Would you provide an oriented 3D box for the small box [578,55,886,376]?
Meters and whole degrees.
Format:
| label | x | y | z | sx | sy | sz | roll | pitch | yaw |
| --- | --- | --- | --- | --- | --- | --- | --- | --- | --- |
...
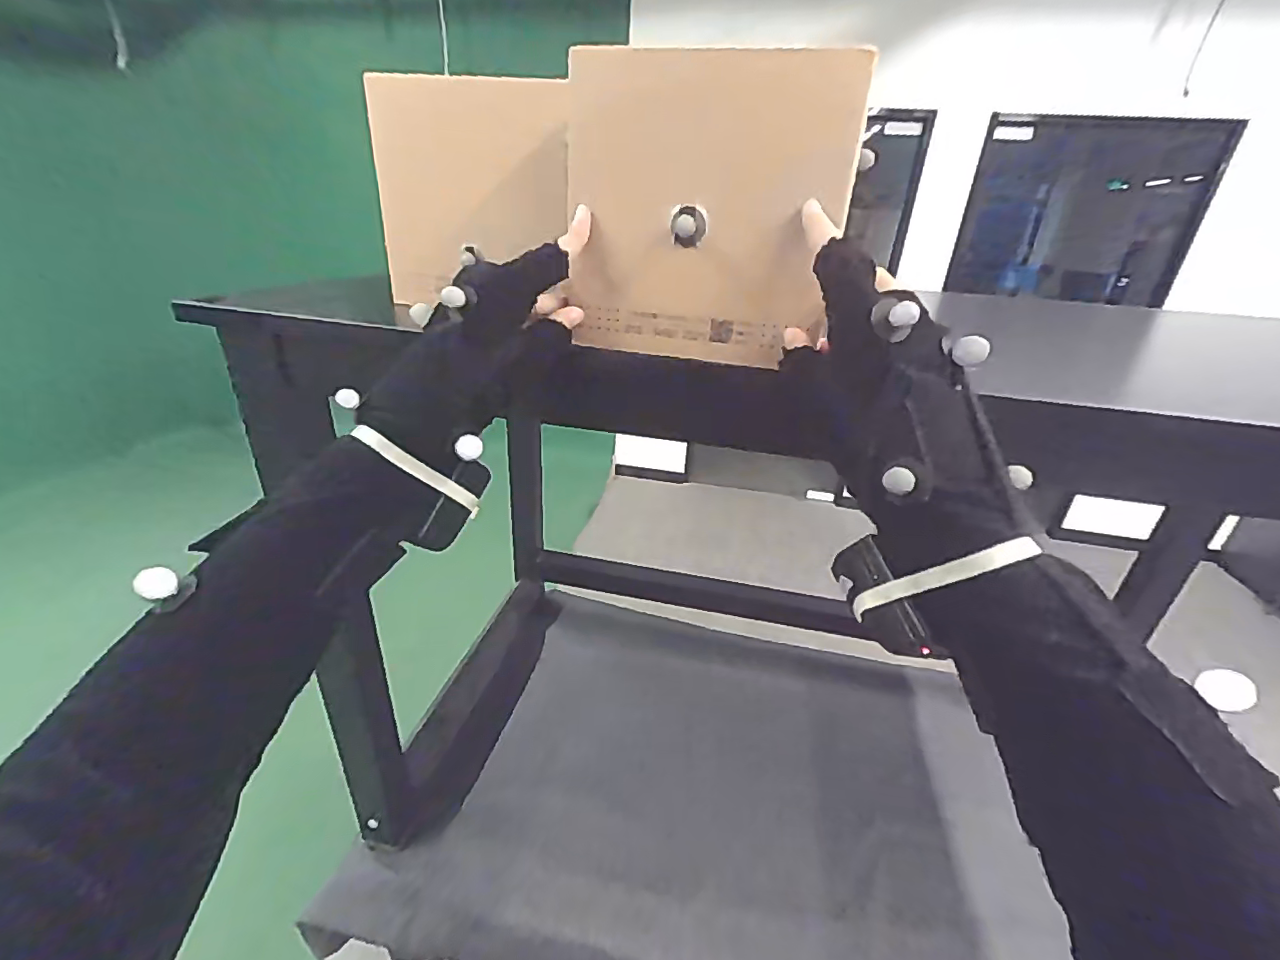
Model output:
| label | x | y | z | sx | sy | sz | roll | pitch | yaw |
| --- | --- | --- | --- | --- | --- | --- | --- | --- | --- |
| small box | 0.062 | -0.181 | 0.391 | 0.168 | 0.176 | 0.179 | 10 | 26 | 11 |
